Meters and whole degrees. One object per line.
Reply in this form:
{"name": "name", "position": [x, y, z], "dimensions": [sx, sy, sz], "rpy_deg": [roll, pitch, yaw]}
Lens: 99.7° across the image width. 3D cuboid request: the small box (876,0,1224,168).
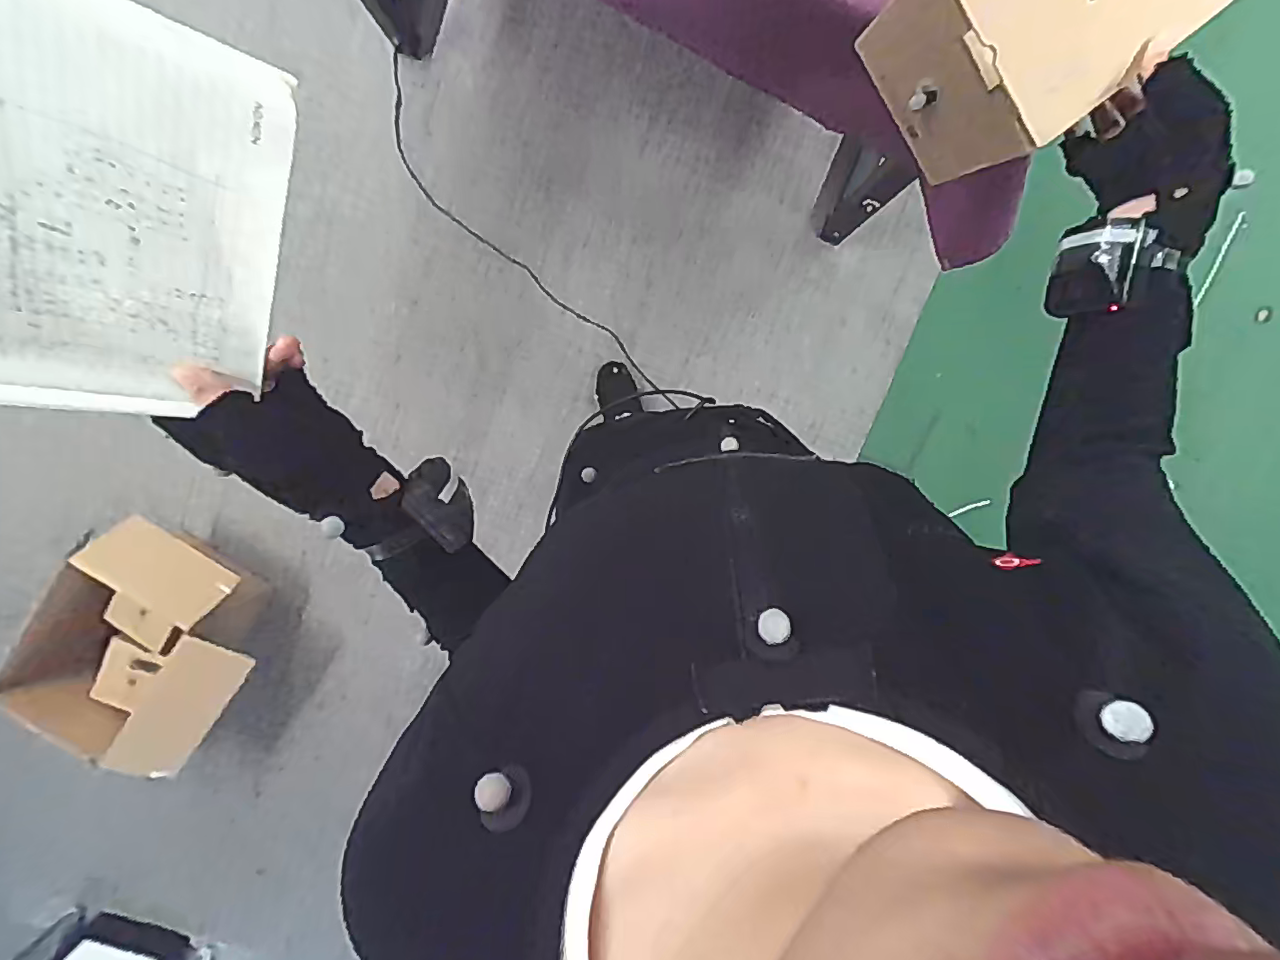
{"name": "small box", "position": [0.330, -0.403, 0.462], "dimensions": [0.179, 0.176, 0.168], "rpy_deg": [-37, 106, 16]}
